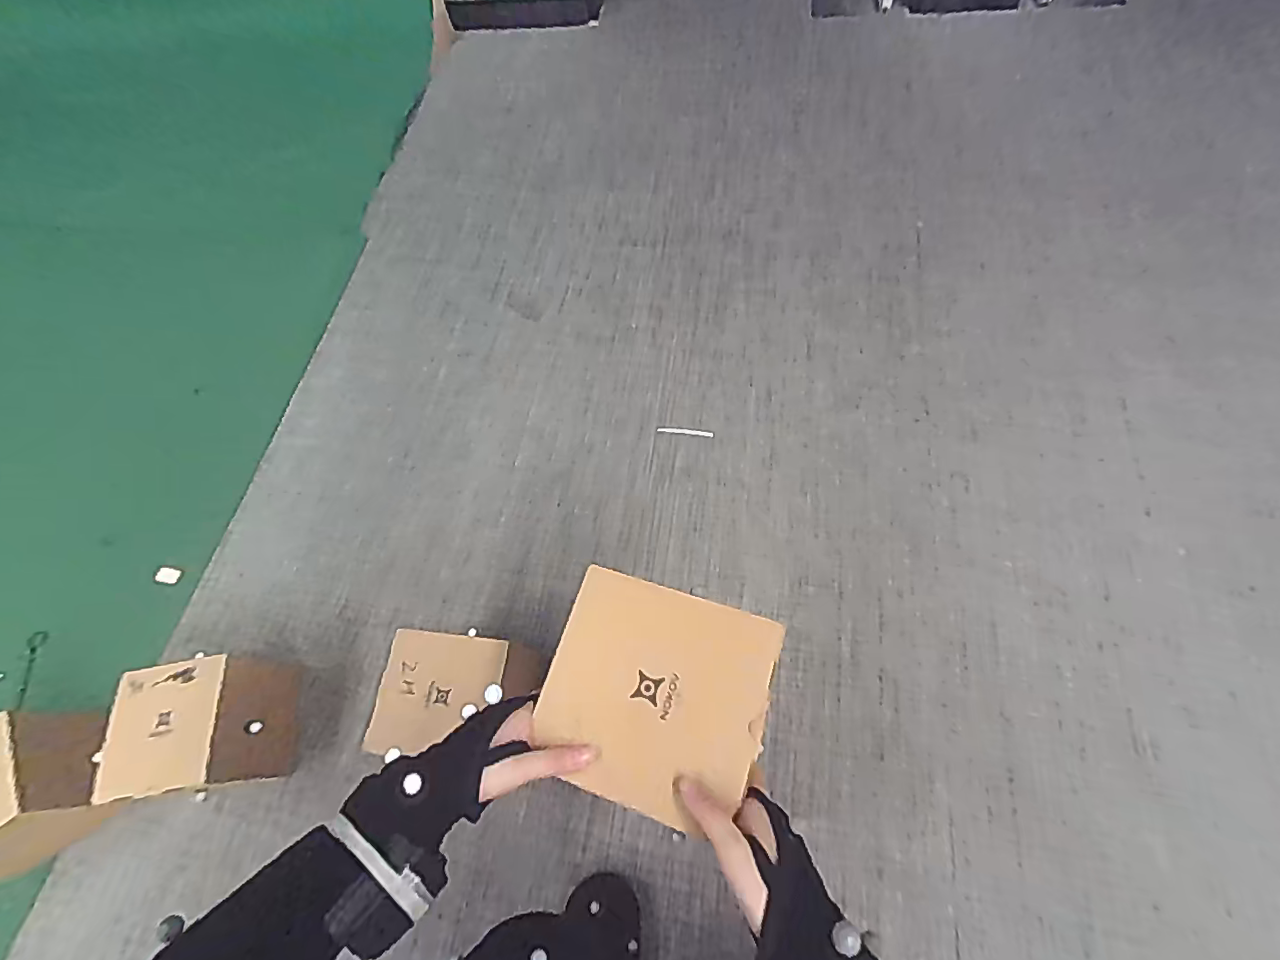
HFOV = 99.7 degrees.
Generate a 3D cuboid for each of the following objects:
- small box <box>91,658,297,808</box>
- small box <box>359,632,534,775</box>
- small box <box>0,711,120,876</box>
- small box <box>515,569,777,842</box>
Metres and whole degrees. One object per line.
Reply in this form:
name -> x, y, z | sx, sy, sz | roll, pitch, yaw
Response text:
small box -> -0.667, 0.385, 0.835 | 0.168, 0.176, 0.179 | -10, 65, 2
small box -> -0.273, 0.334, 0.813 | 0.179, 0.176, 0.168 | 5, 65, 8
small box -> -0.951, 0.481, 0.823 | 0.179, 0.176, 0.168 | -34, 65, -11
small box -> 0.016, 0.205, 0.509 | 0.179, 0.176, 0.168 | 15, 68, 14
